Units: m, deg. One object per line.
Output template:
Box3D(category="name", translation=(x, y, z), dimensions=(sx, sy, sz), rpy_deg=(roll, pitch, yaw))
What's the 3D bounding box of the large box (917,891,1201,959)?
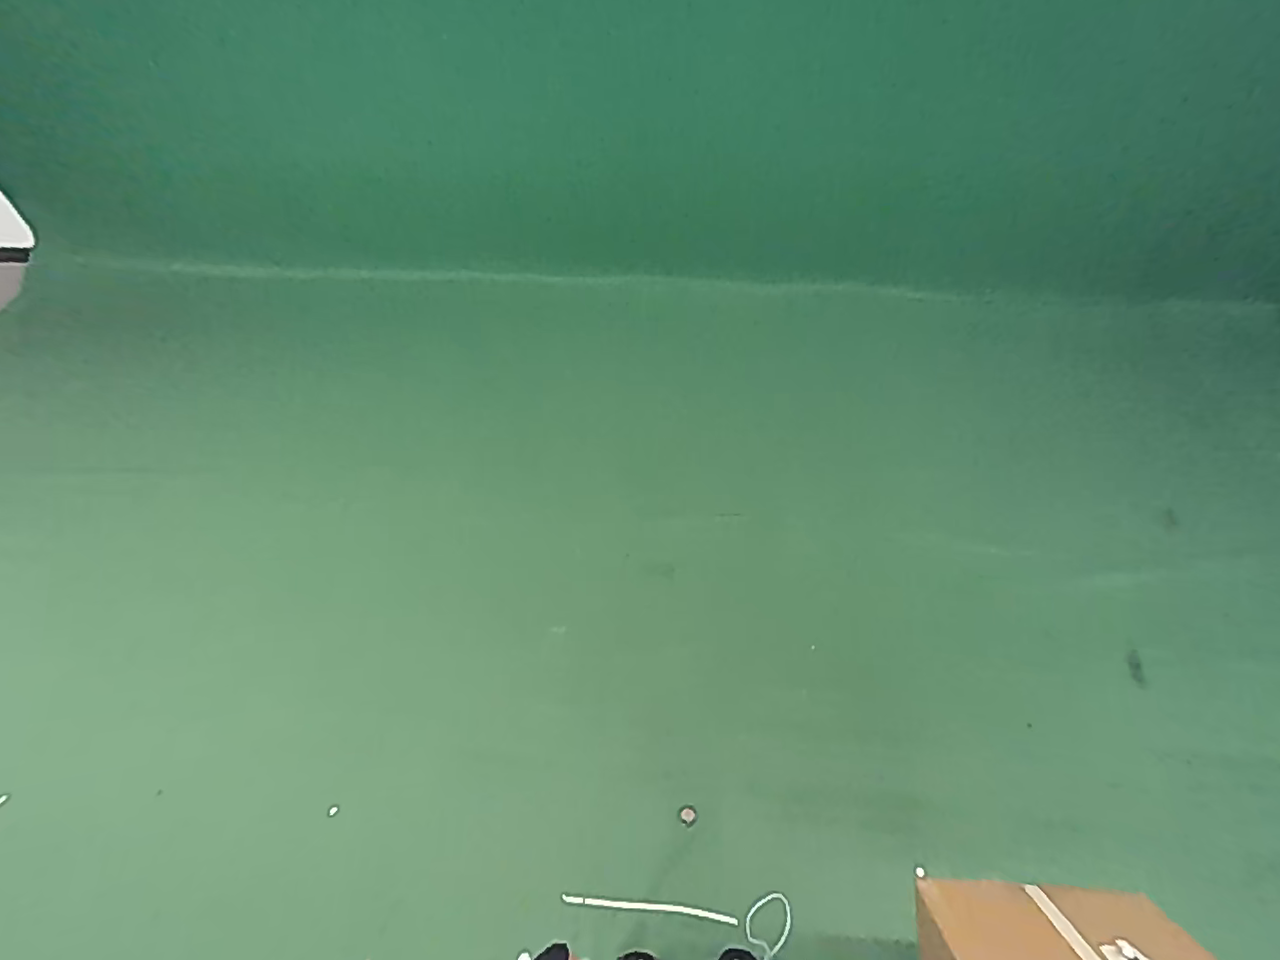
Box3D(category="large box", translation=(0.544, 0.750, 0.585), dimensions=(0.320, 0.408, 0.320), rpy_deg=(-1, 86, 8))
